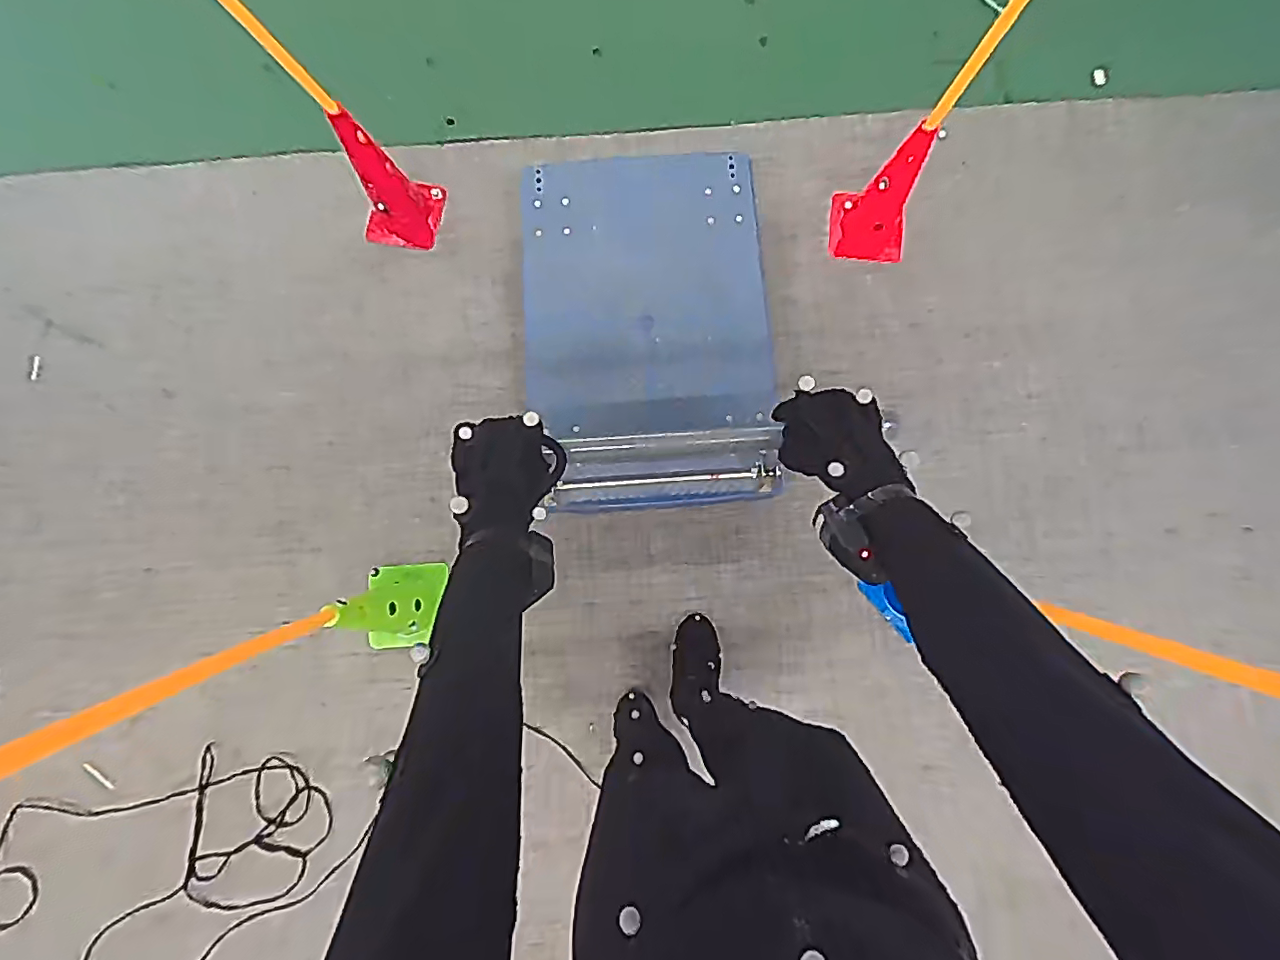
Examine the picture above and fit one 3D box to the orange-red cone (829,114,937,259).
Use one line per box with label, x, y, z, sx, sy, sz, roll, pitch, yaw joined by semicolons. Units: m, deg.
orange-red cone;0.618;-0.728;1.314;0.198;0.360;0.199;8;82;3
